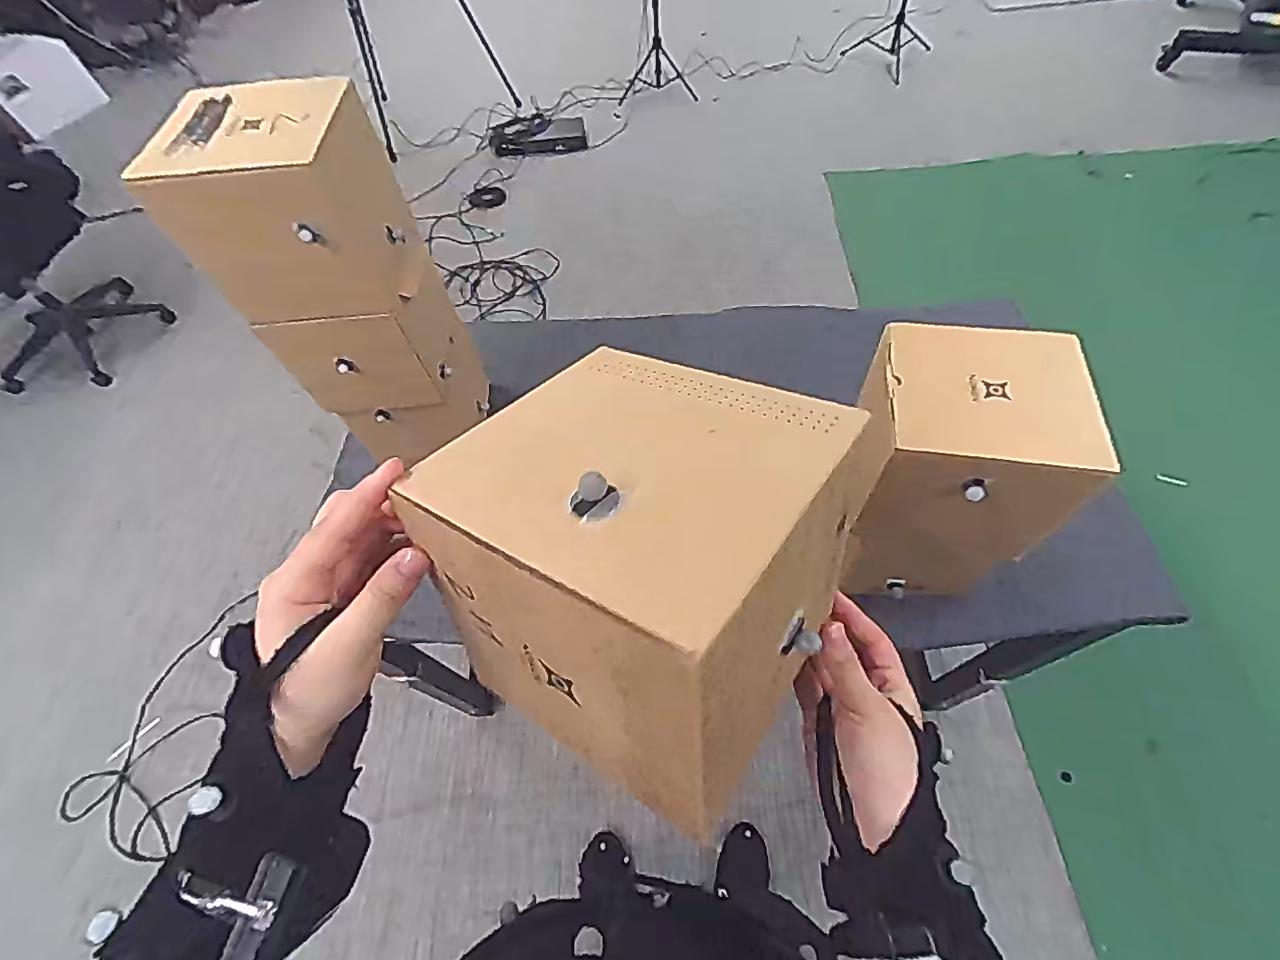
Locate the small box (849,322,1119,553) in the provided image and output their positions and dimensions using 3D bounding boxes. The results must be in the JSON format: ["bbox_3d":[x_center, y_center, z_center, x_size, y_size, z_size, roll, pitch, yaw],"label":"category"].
[{"bbox_3d":[0.327,-0.038,0.559,0.179,0.176,0.168,7,58,11],"label":"small box"}]

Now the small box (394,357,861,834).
[{"bbox_3d":[0.005,0.048,0.313,0.179,0.168,0.176,24,49,31],"label":"small box"}]

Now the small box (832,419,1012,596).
[{"bbox_3d":[0.341,0.038,0.703,0.168,0.176,0.179,-2,57,5],"label":"small box"}]

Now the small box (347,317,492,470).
[{"bbox_3d":[-0.349,-0.137,0.882,0.168,0.176,0.179,-5,59,2],"label":"small box"}]

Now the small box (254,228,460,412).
[{"bbox_3d":[-0.361,-0.209,0.733,0.179,0.176,0.168,-5,59,3],"label":"small box"}]
